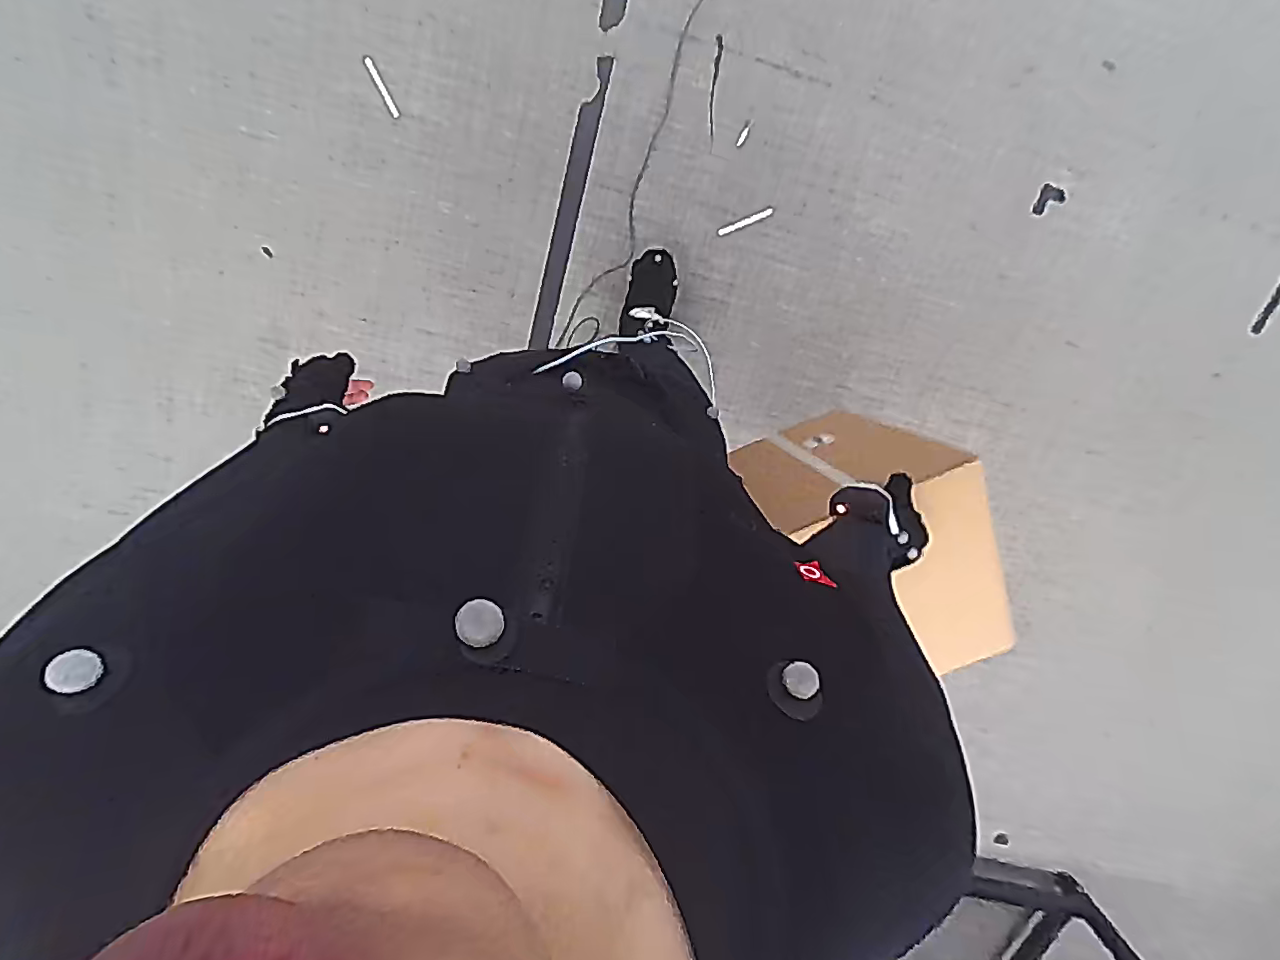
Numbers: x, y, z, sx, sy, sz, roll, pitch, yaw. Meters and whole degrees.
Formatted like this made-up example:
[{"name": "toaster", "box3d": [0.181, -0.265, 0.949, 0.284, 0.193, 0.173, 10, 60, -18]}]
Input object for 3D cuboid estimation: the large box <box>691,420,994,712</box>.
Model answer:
[{"name": "large box", "box3d": [0.321, 0.116, 0.953, 0.320, 0.408, 0.320, -20, 106, -2]}]
